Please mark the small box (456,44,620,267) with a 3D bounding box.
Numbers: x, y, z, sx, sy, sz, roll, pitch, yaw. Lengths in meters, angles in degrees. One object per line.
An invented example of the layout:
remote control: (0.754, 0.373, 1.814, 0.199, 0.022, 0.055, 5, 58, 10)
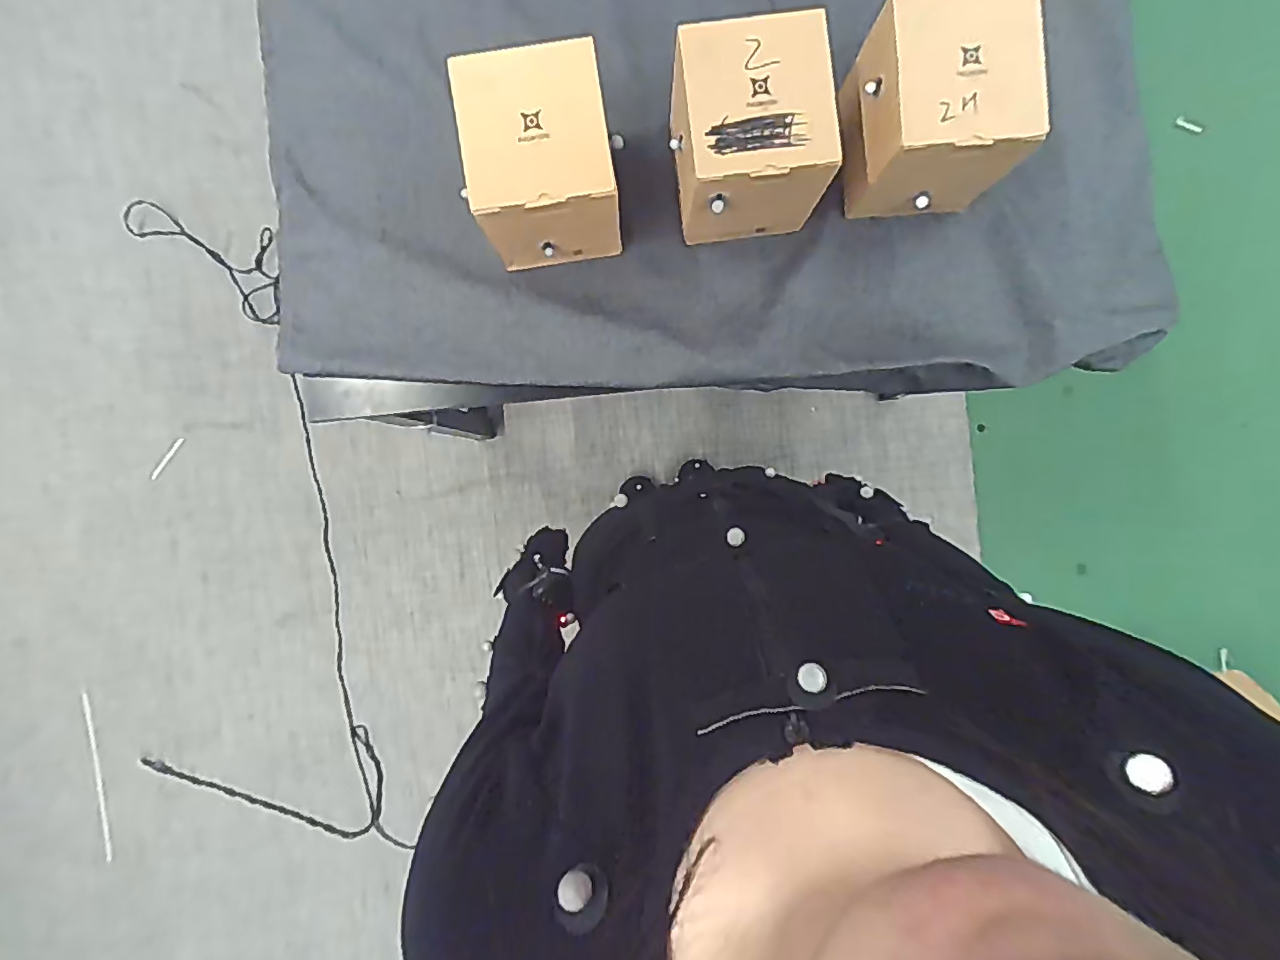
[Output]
small box: (-0.119, -0.398, 0.690, 0.168, 0.176, 0.179, -8, 91, 0)
